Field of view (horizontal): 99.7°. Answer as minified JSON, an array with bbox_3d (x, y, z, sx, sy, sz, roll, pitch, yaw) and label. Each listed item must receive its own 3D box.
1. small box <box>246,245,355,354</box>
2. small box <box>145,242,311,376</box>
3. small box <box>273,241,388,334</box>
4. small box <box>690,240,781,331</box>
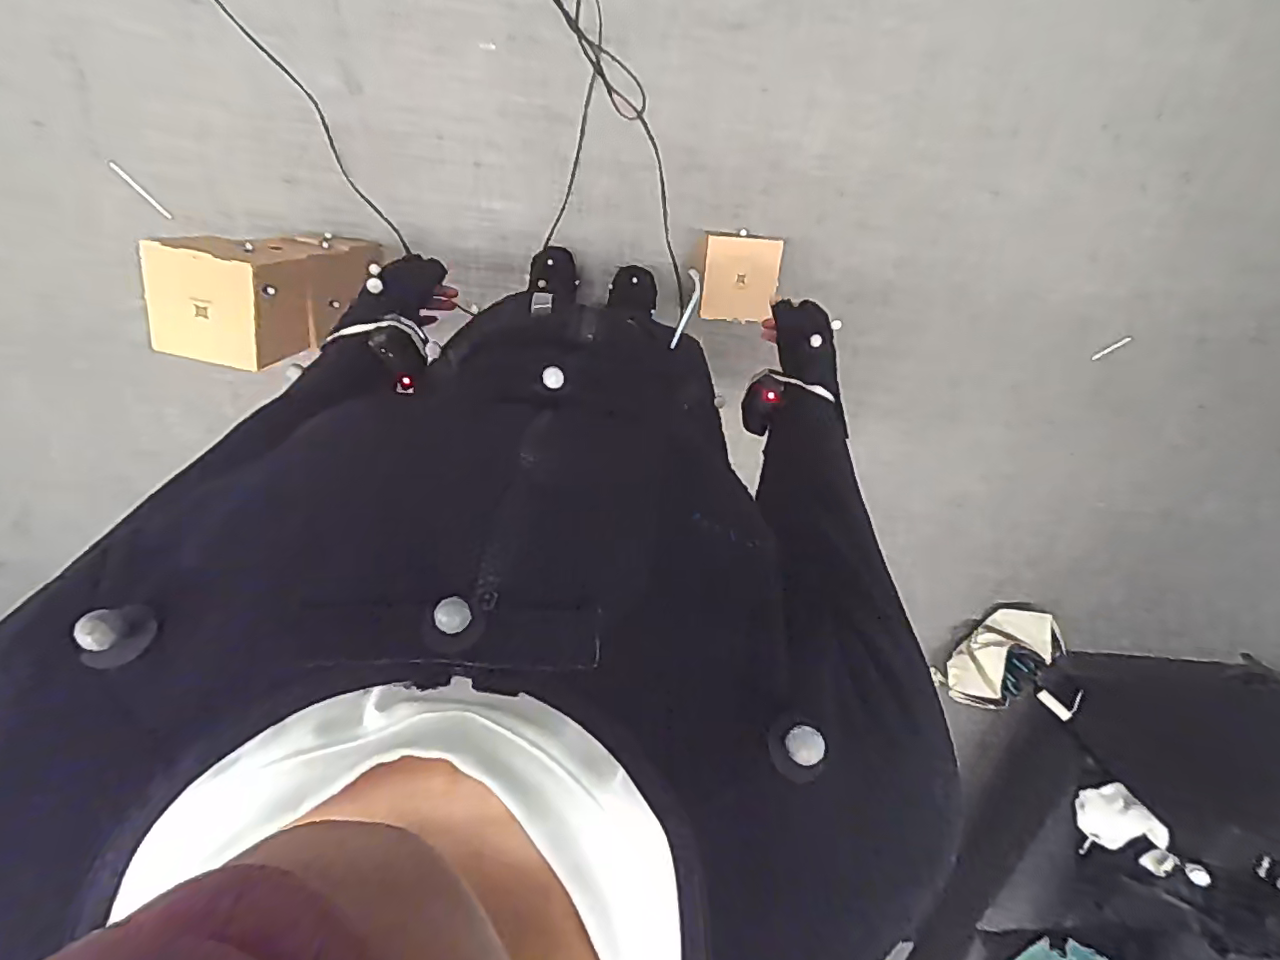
[{"bbox_3d":[-0.699,-0.369,1.092,0.168,0.176,0.179,7,116,-6],"label":"small box"},{"bbox_3d":[-0.701,-0.303,0.944,0.168,0.176,0.179,12,114,-7],"label":"small box"},{"bbox_3d":[-0.699,-0.444,1.241,0.168,0.176,0.179,6,113,-1],"label":"small box"},{"bbox_3d":[0.216,-0.459,1.269,0.168,0.176,0.179,3,115,-5],"label":"small box"}]
